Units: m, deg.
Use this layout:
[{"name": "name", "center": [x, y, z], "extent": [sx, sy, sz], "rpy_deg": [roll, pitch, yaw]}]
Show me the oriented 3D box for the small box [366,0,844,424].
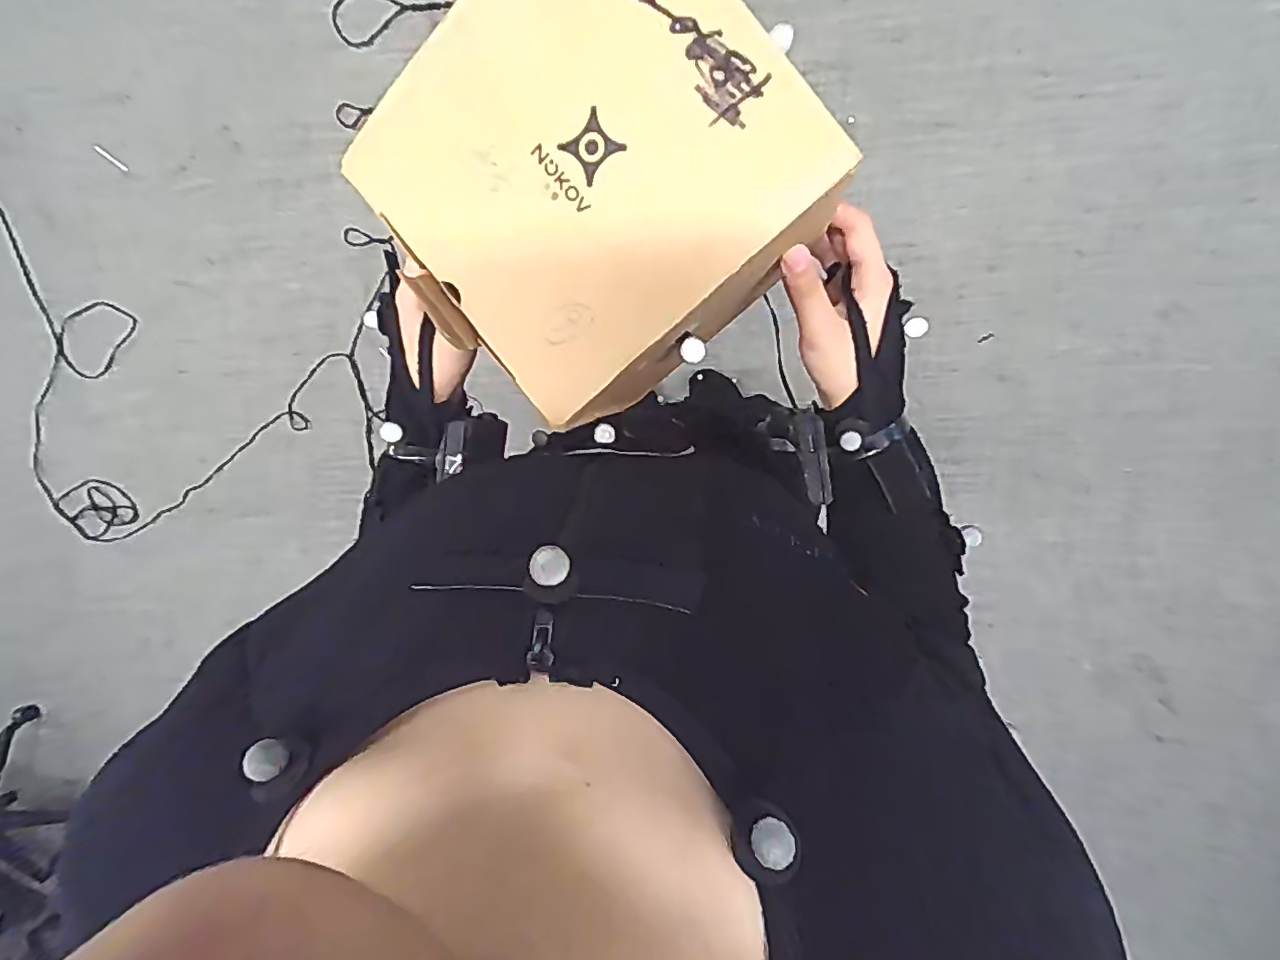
[{"name": "small box", "center": [-0.009, -0.156, 0.326], "extent": [0.179, 0.176, 0.168], "rpy_deg": [-39, 92, 16]}]
